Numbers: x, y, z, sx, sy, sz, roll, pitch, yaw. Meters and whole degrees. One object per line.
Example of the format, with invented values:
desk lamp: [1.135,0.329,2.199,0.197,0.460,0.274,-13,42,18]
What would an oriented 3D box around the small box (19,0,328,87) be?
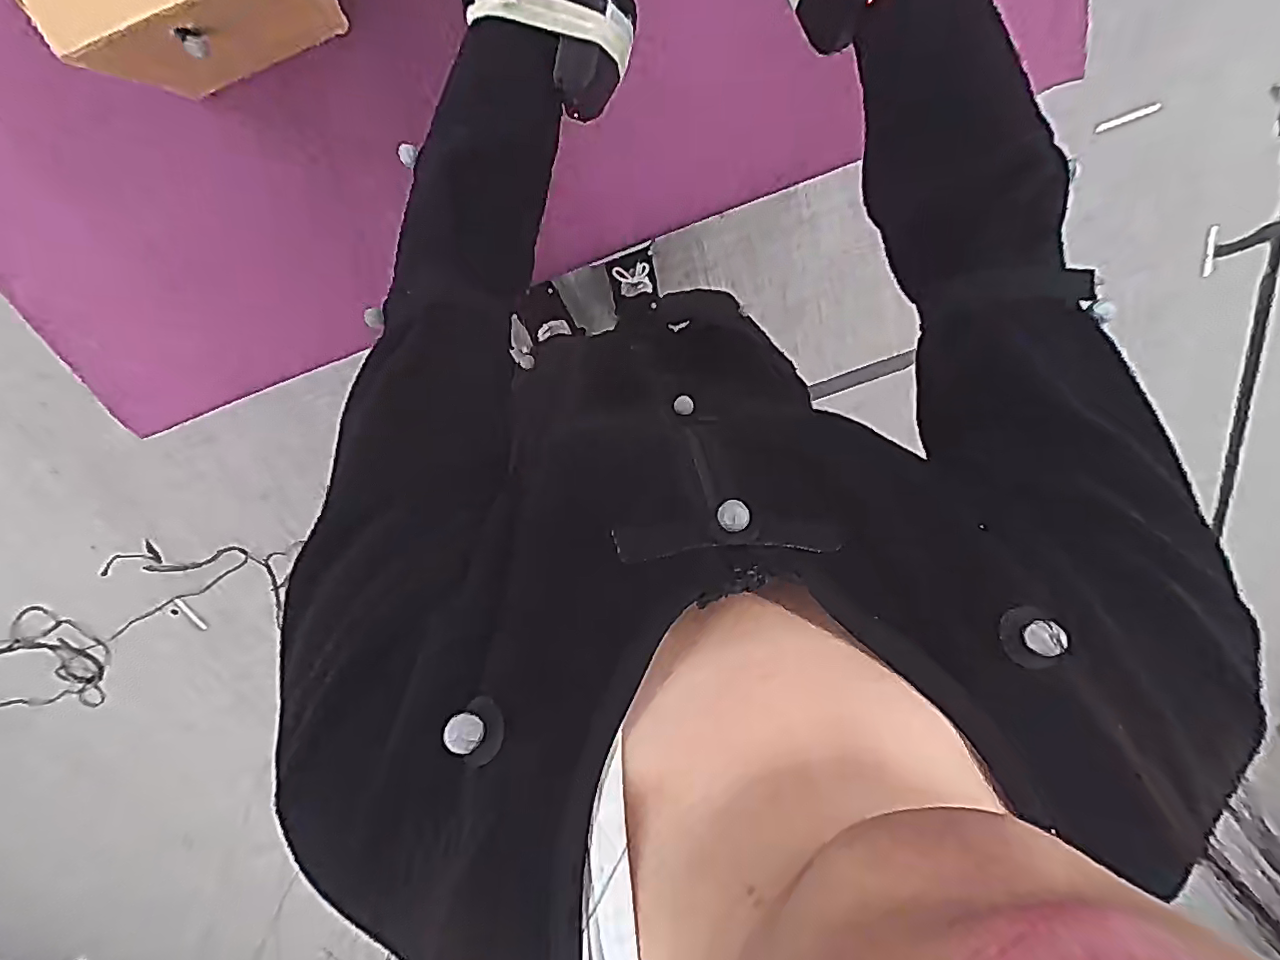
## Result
small box: [-0.380,-0.442,0.421,0.179,0.176,0.168,-21,118,4]
